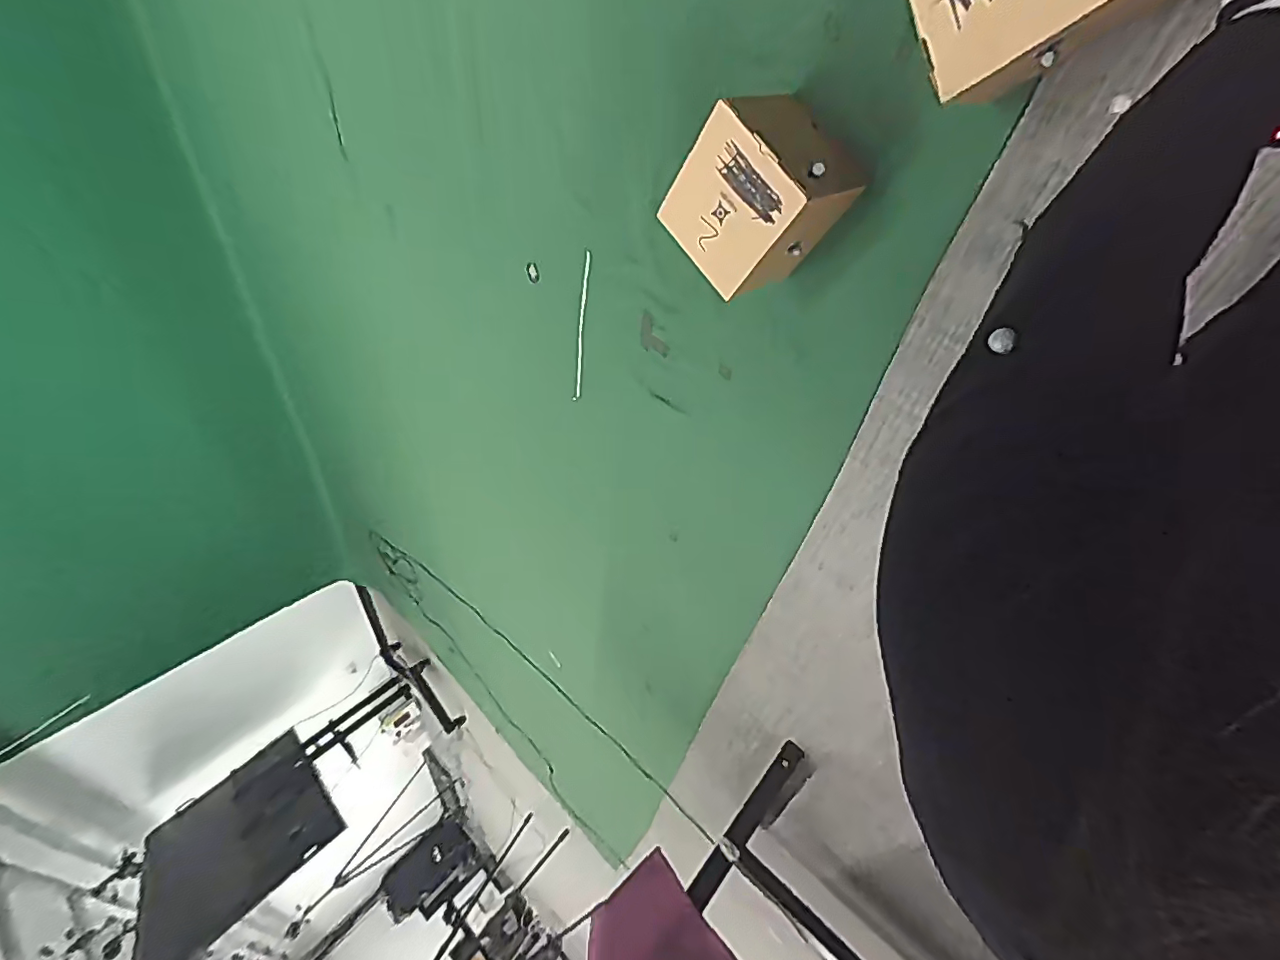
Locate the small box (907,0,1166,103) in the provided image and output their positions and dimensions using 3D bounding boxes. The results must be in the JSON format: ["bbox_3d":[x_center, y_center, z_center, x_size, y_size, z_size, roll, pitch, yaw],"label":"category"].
[{"bbox_3d":[0.356,-0.469,0.478,0.179,0.176,0.168,-11,107,50],"label":"small box"}]
